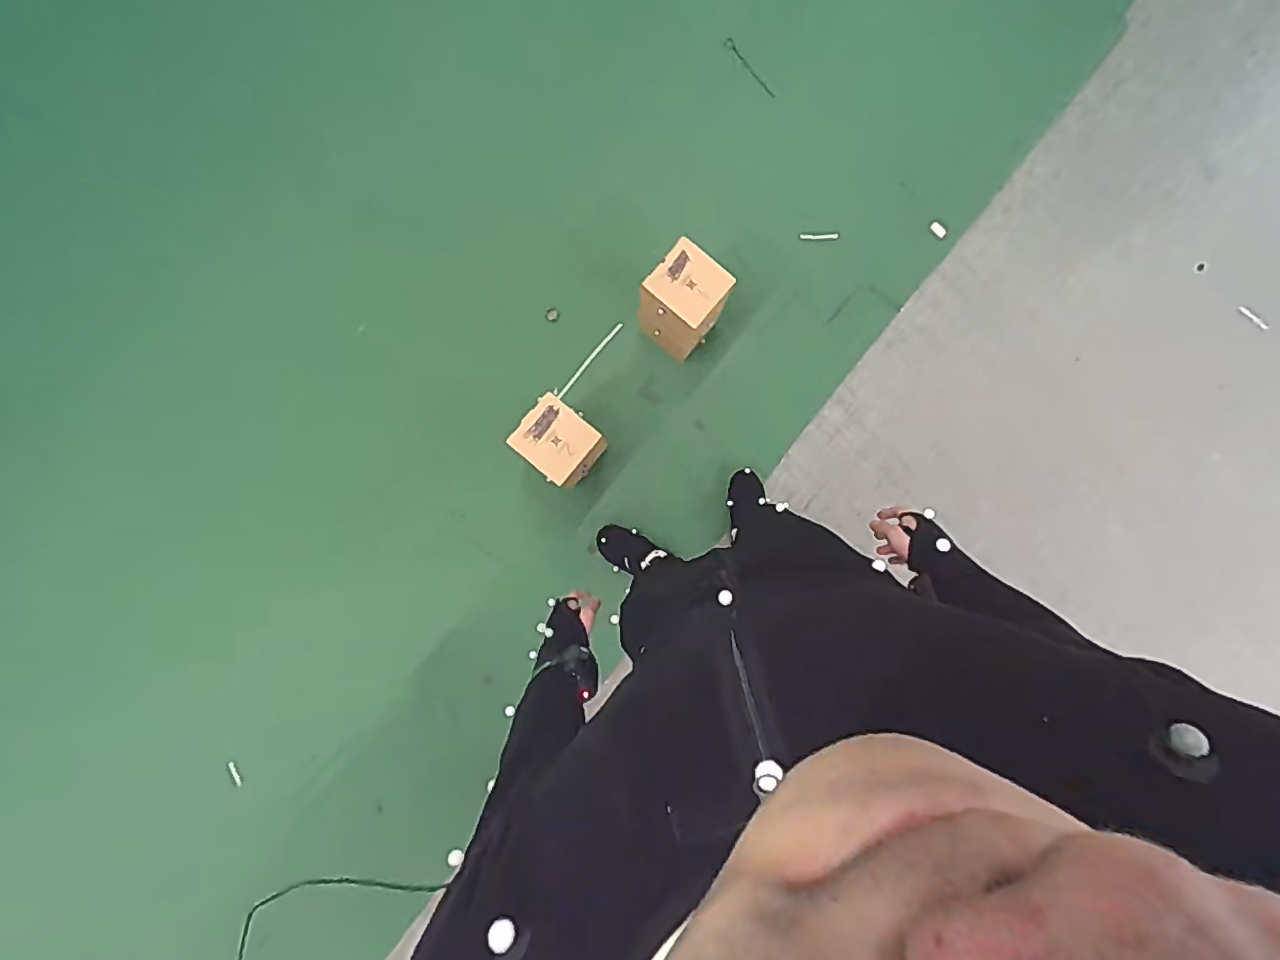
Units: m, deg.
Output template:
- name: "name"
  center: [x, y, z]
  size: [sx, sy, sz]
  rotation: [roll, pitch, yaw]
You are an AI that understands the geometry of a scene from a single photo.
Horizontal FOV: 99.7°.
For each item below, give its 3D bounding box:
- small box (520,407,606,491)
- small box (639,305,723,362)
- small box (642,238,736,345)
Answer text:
- name: "small box"
  center: [-0.212, -0.085, 1.547]
  size: [0.179, 0.176, 0.168]
  rotation: [39, 88, 1]
- name: "small box"
  center: [0.111, -0.470, 1.568]
  size: [0.179, 0.176, 0.168]
  rotation: [40, 87, 0]
- name: "small box"
  center: [0.117, -0.477, 1.404]
  size: [0.179, 0.176, 0.168]
  rotation: [40, 87, 0]
